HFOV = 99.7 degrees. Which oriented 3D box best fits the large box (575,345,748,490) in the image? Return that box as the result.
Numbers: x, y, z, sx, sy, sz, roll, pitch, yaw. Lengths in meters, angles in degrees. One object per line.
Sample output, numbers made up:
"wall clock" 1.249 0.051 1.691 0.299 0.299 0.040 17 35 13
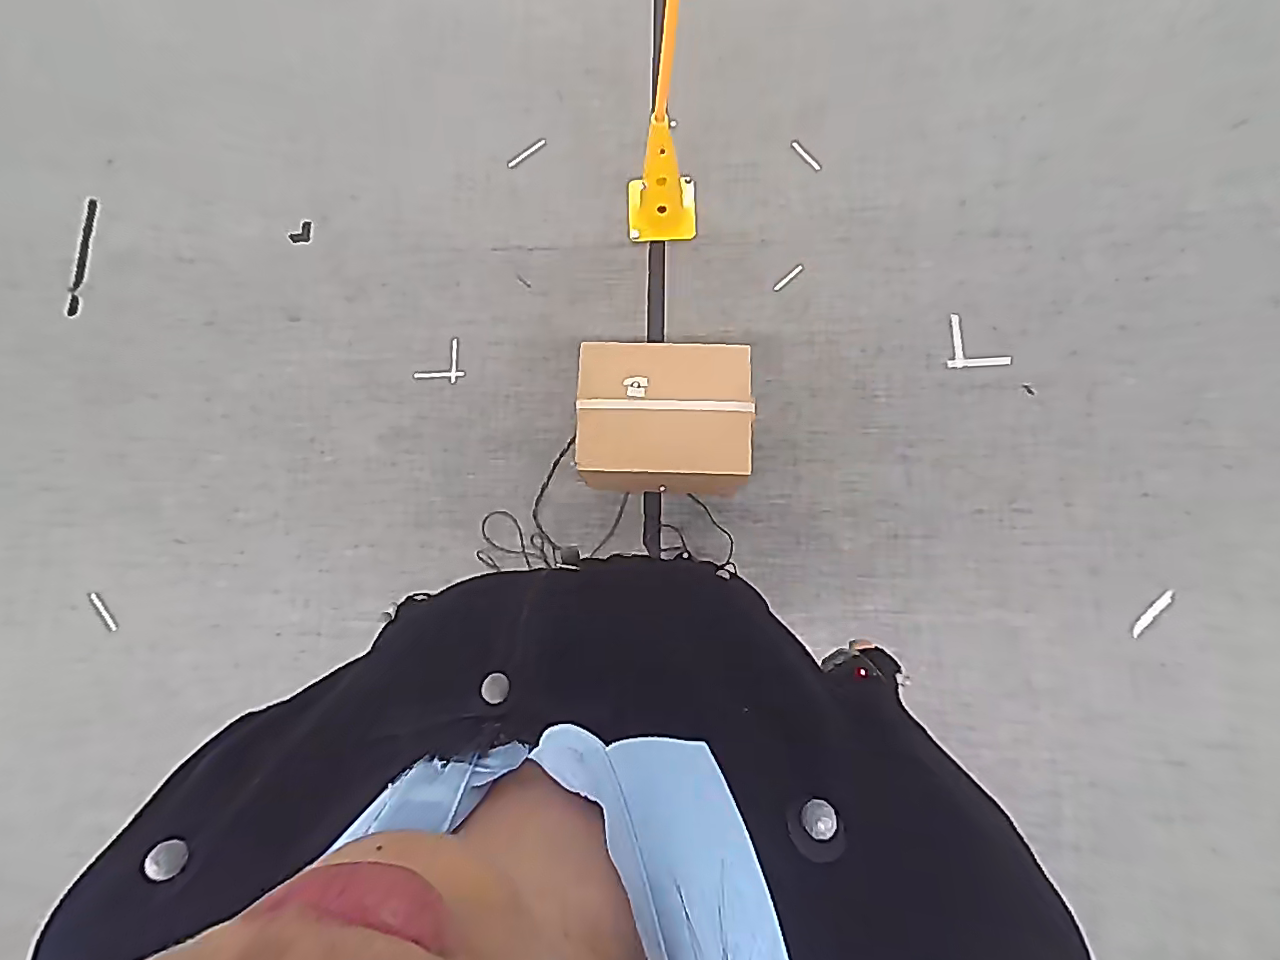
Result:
"large box" 0.057 -0.144 1.408 0.408 0.320 0.320 1 79 3
